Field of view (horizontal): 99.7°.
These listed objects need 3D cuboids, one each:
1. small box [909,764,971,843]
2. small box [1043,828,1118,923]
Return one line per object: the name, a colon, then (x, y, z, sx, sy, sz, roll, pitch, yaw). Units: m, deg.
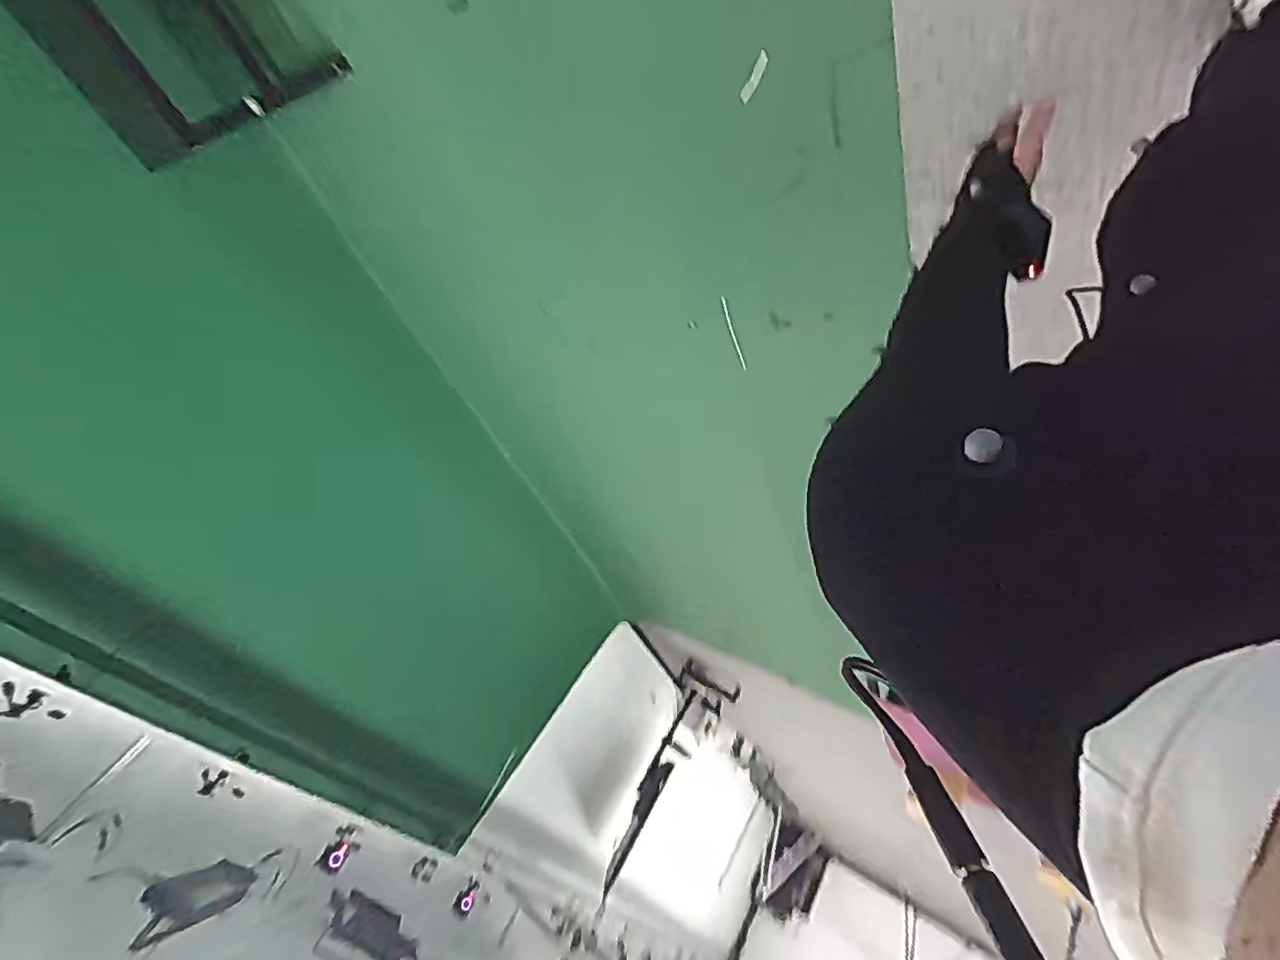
small box: (1.125, 1.206, 2.021, 0.168, 0.176, 0.179, 12, 143, 39)
small box: (1.433, 1.282, 1.759, 0.168, 0.176, 0.179, 10, 141, 42)
